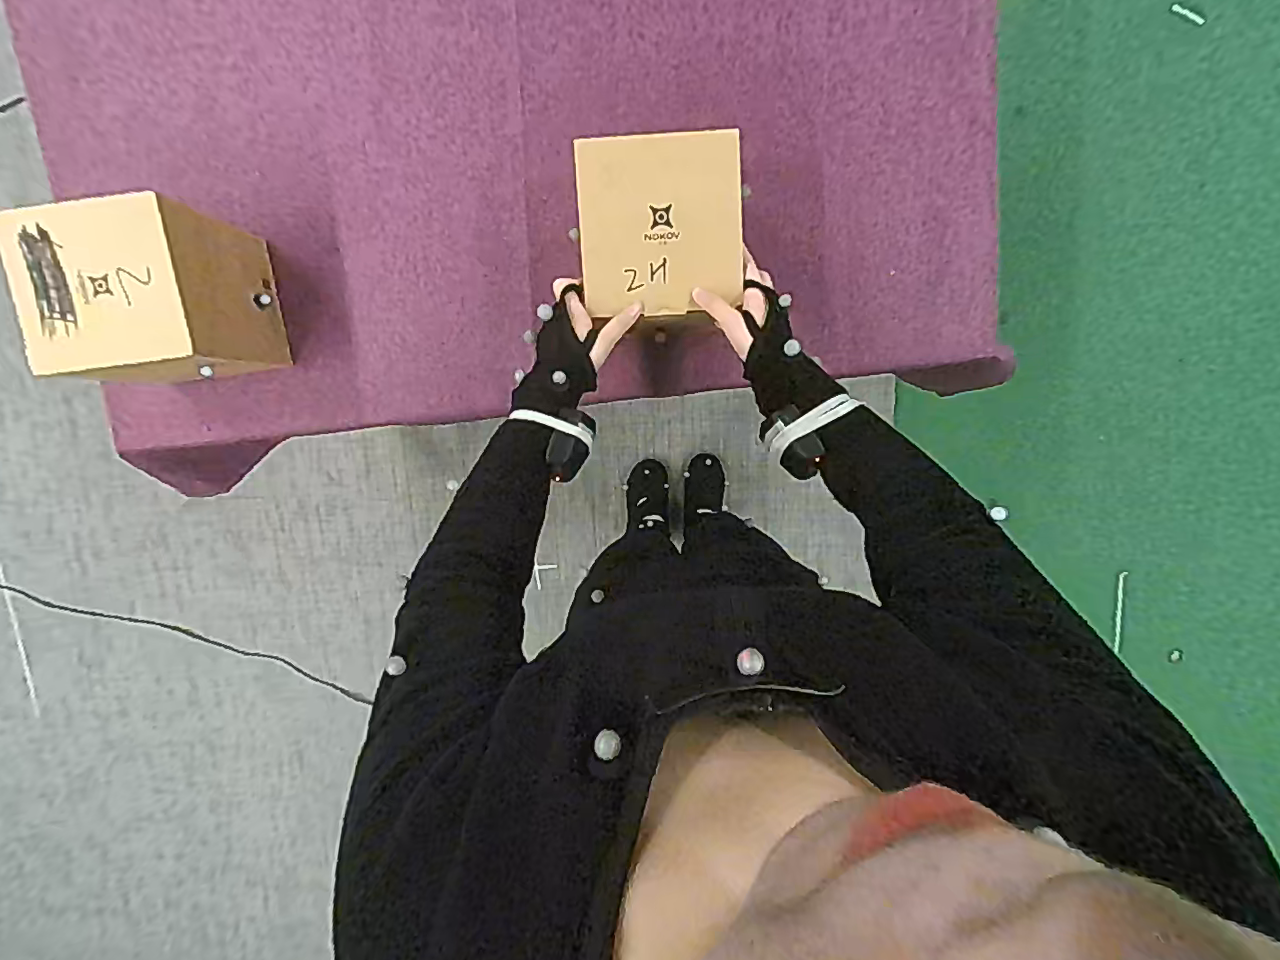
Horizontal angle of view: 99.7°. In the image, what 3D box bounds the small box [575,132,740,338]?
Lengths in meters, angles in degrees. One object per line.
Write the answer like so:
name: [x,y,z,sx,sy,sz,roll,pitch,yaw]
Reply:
small box: [0.019,-0.265,0.624,0.168,0.176,0.179,-3,99,1]
